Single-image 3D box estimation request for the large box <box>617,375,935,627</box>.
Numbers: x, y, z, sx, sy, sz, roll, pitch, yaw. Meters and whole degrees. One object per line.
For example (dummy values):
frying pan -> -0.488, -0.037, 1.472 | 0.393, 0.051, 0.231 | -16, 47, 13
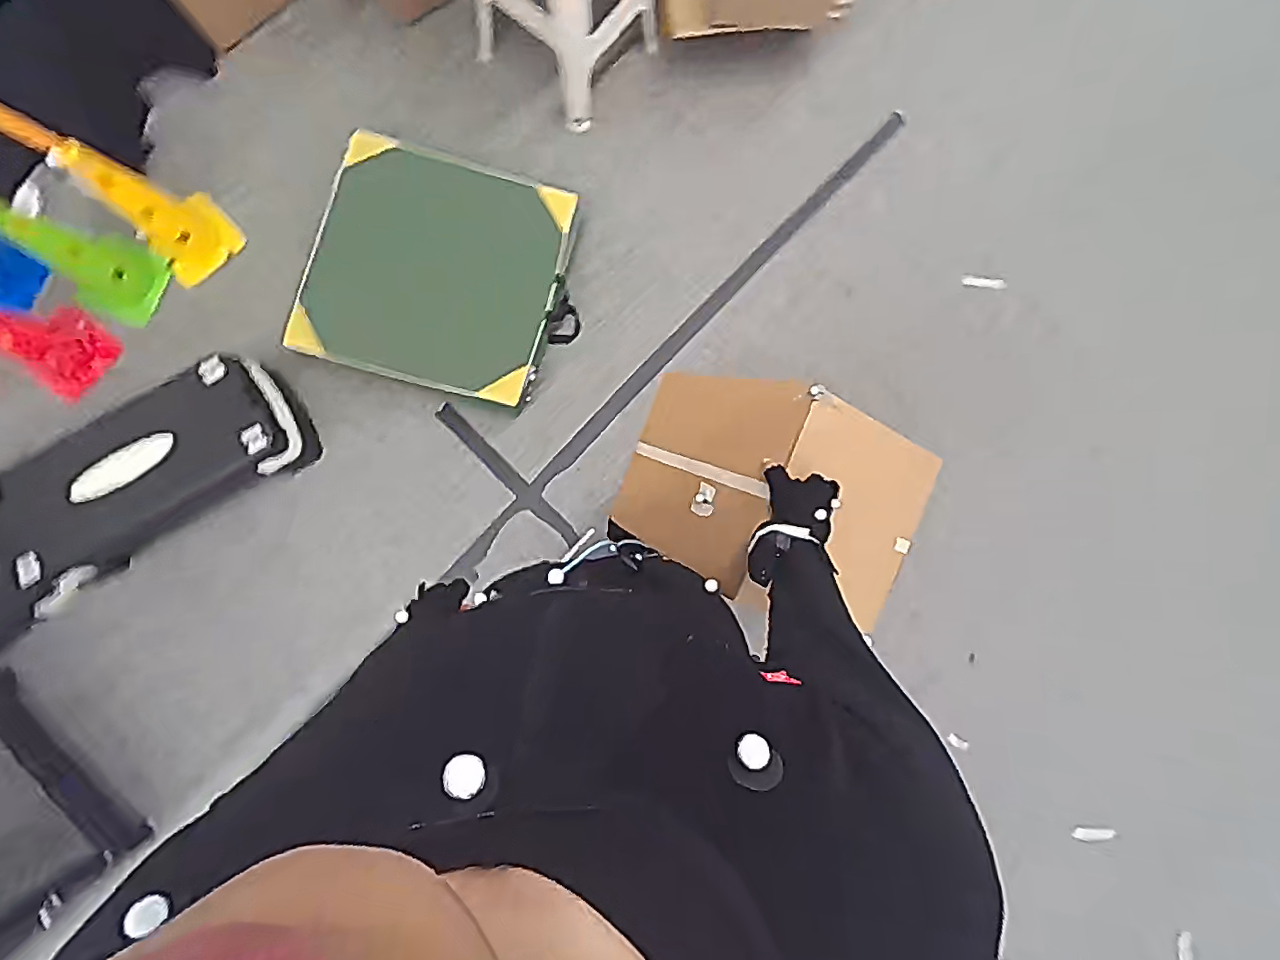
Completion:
large box -> 0.219, 0.021, 0.979 | 0.320, 0.408, 0.320 | 19, 94, -31
